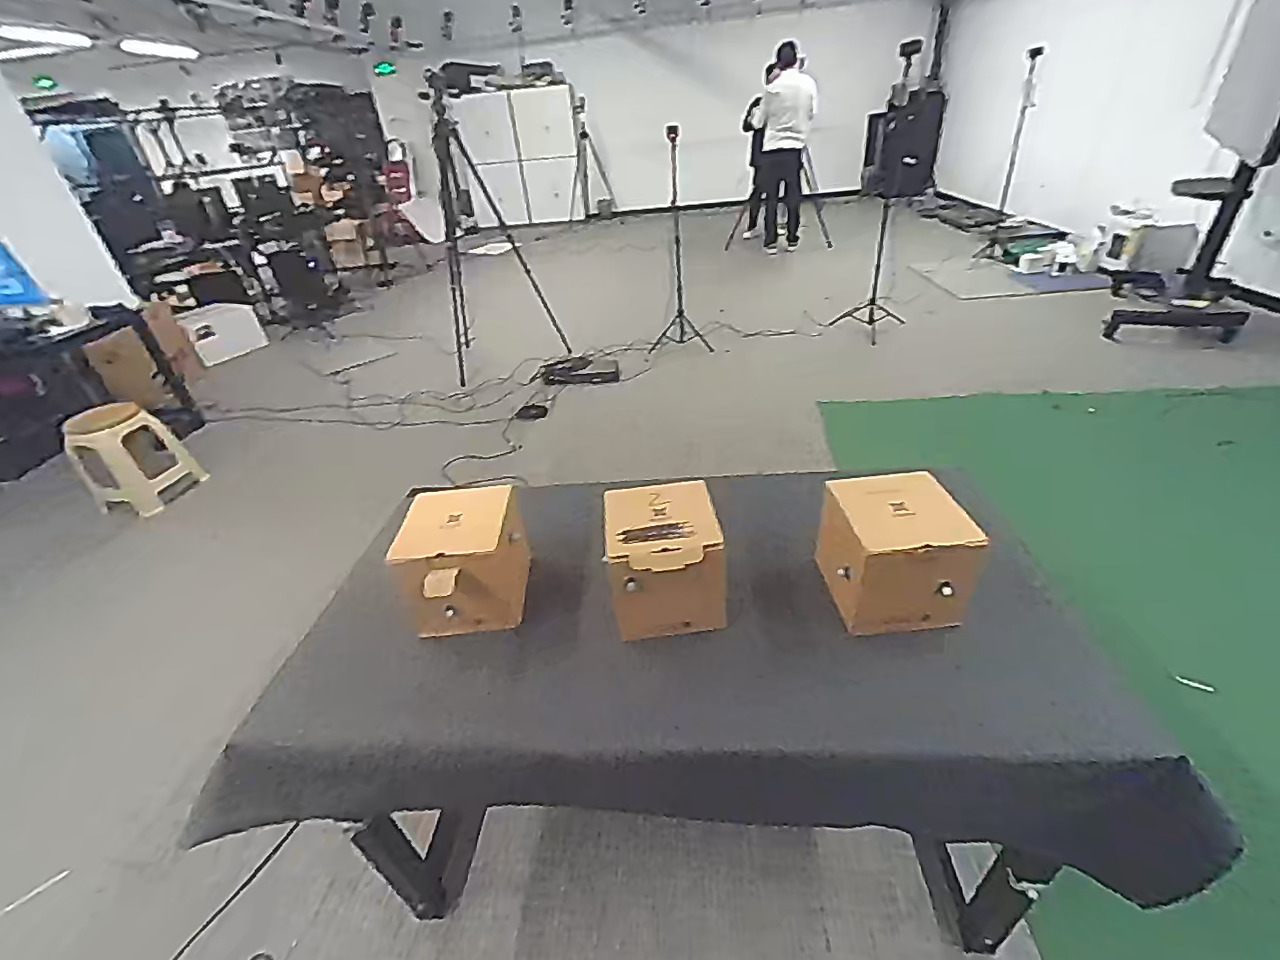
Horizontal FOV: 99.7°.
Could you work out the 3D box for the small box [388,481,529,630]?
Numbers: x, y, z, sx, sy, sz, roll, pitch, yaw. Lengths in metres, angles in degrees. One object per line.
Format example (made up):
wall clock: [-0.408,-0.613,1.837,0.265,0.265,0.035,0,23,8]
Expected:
small box: [-0.285,0.122,0.897,0.168,0.176,0.179,-5,34,0]

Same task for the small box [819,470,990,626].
small box: [0.384,0.106,0.822,0.168,0.176,0.179,-5,33,0]
